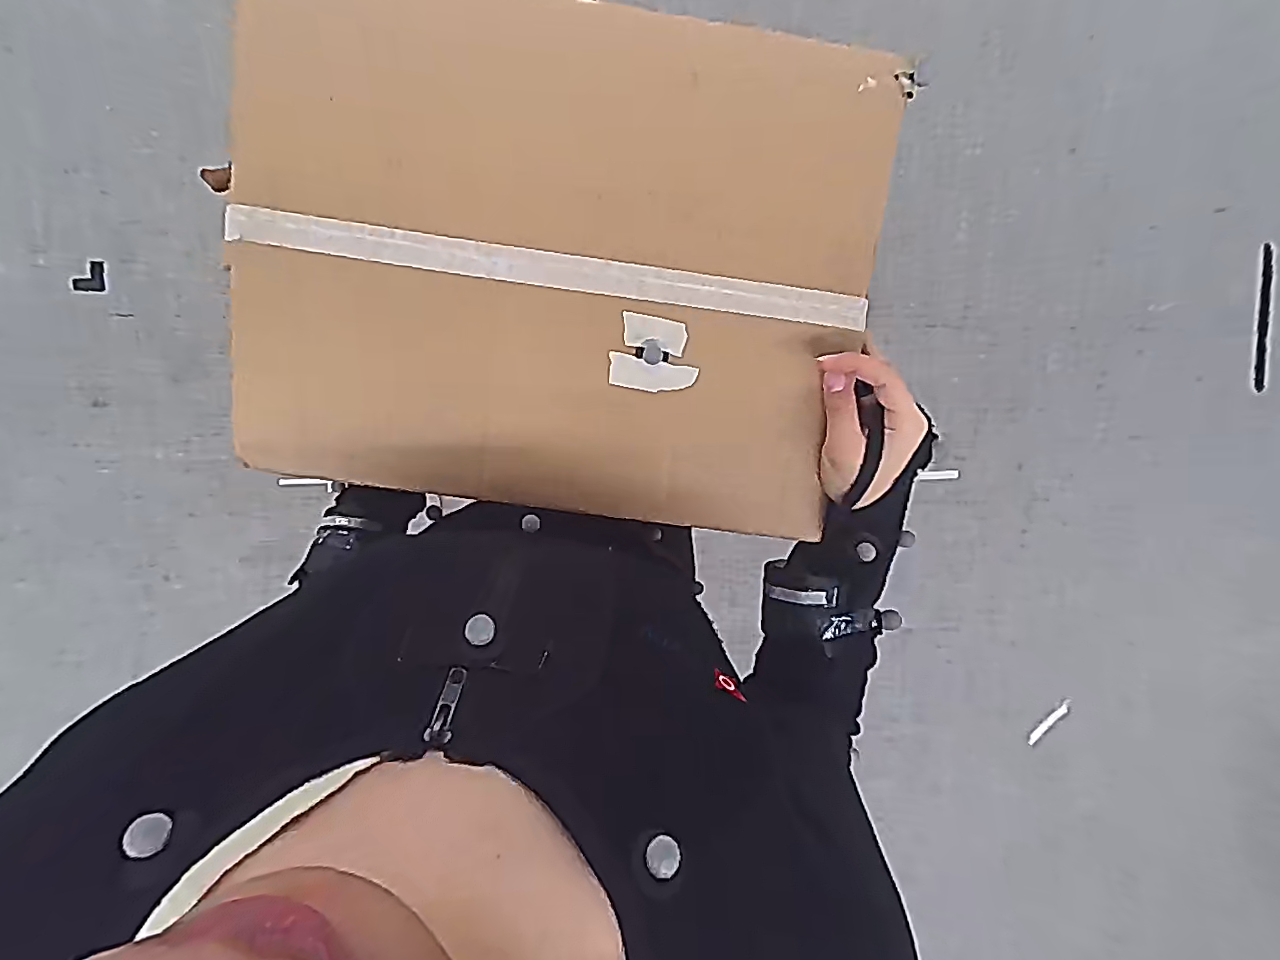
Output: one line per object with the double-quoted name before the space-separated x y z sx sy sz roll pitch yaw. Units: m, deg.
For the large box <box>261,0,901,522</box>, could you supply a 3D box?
"large box" -0.052 -0.161 0.504 0.408 0.320 0.320 7 100 -4
